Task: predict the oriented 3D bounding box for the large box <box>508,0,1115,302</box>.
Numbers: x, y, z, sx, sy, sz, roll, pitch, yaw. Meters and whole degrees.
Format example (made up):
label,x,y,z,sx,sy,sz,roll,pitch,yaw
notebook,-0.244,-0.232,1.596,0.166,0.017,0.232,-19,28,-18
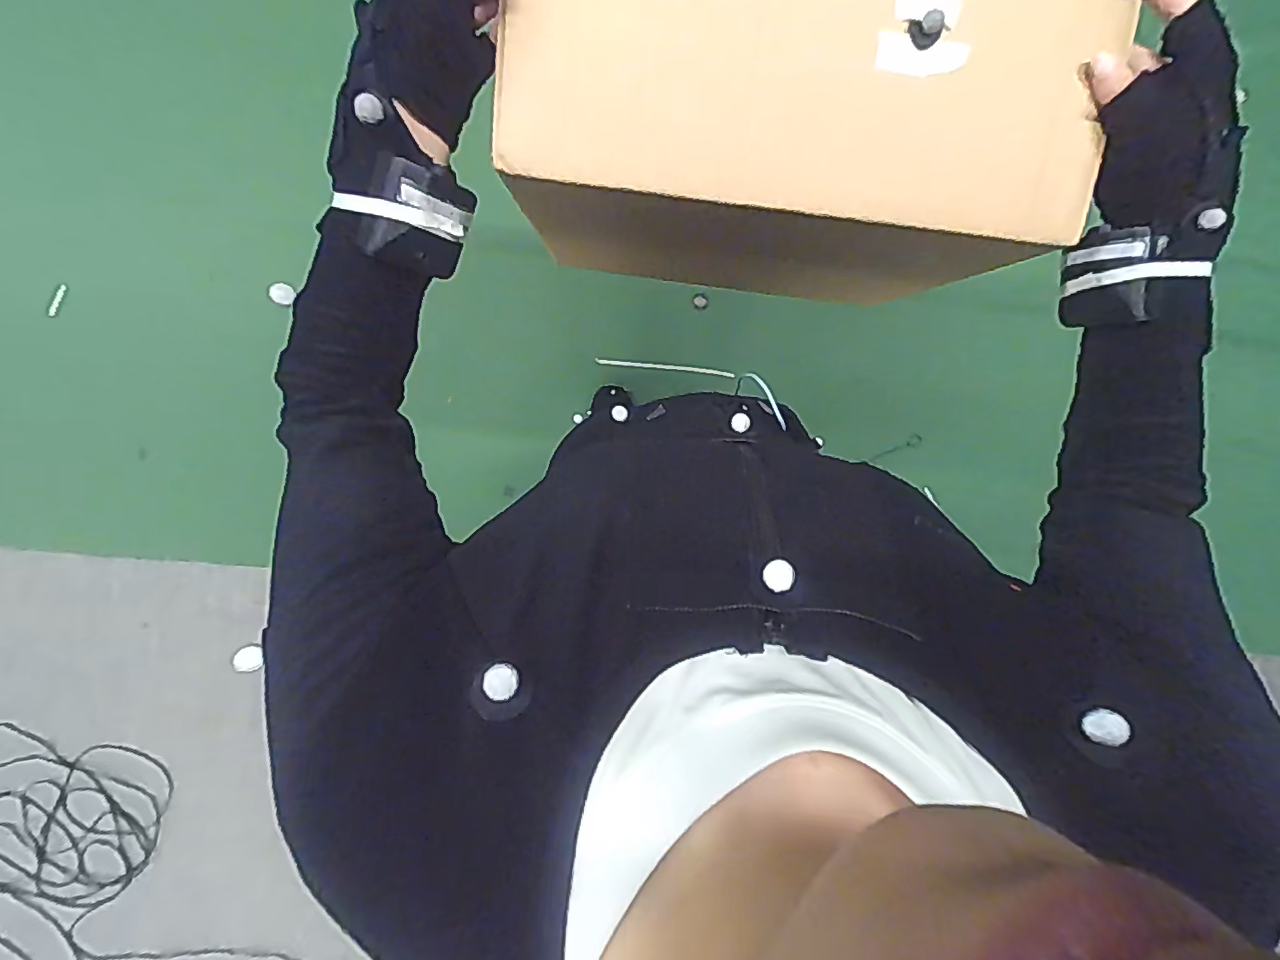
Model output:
label,x,y,z,sx,sy,sz,roll,pitch,yaw
large box,0.116,-0.365,0.500,0.408,0.320,0.320,6,100,-2
